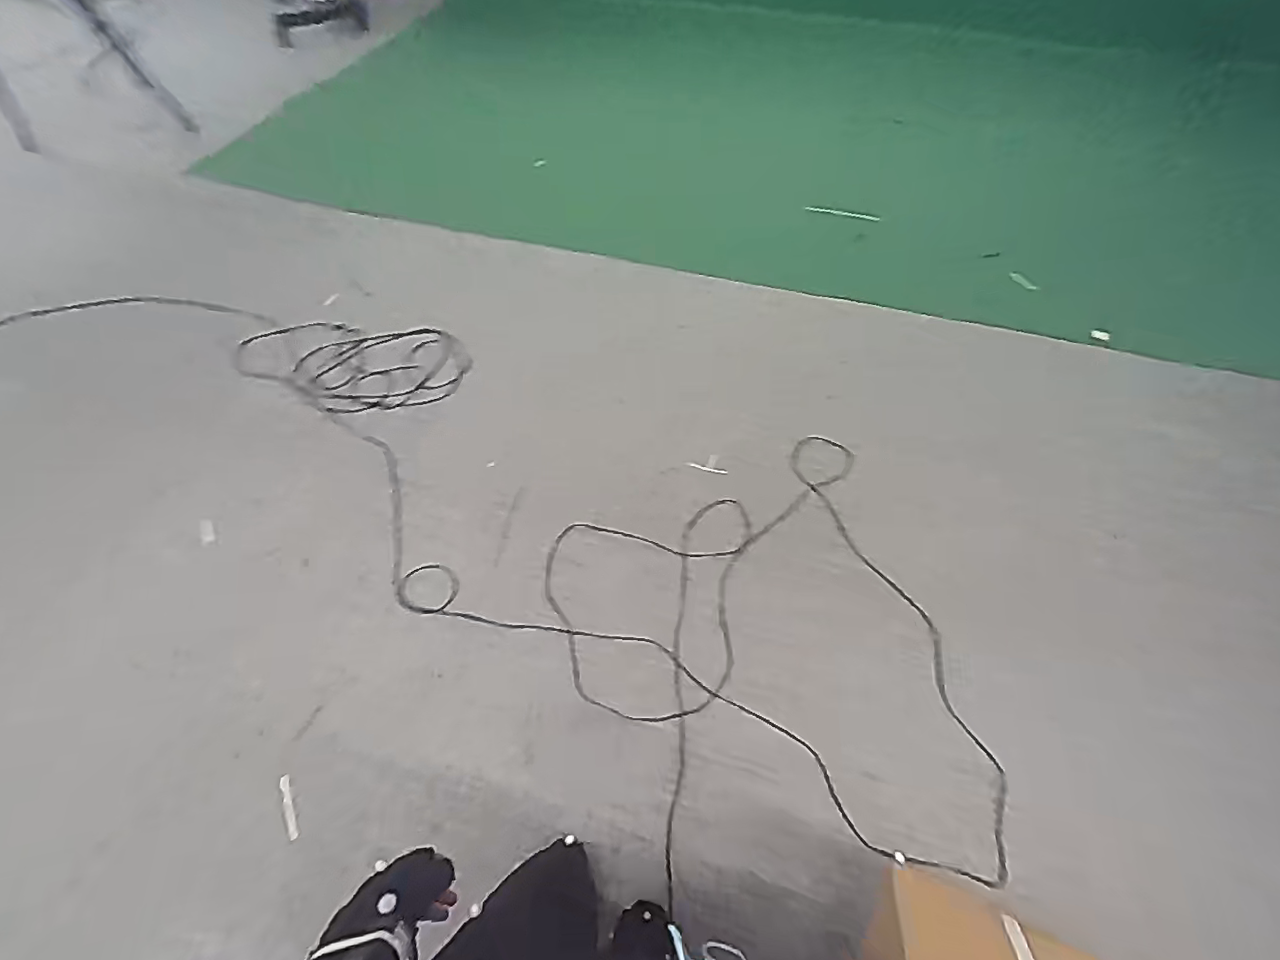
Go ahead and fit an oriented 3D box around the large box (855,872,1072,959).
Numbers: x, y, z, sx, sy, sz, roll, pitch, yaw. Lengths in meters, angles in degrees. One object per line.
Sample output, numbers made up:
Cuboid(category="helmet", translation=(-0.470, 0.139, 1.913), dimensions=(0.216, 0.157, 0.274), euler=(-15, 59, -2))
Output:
Cuboid(category="large box", translation=(0.407, 0.783, 0.606), dimensions=(0.320, 0.408, 0.320), euler=(19, 95, 19))
